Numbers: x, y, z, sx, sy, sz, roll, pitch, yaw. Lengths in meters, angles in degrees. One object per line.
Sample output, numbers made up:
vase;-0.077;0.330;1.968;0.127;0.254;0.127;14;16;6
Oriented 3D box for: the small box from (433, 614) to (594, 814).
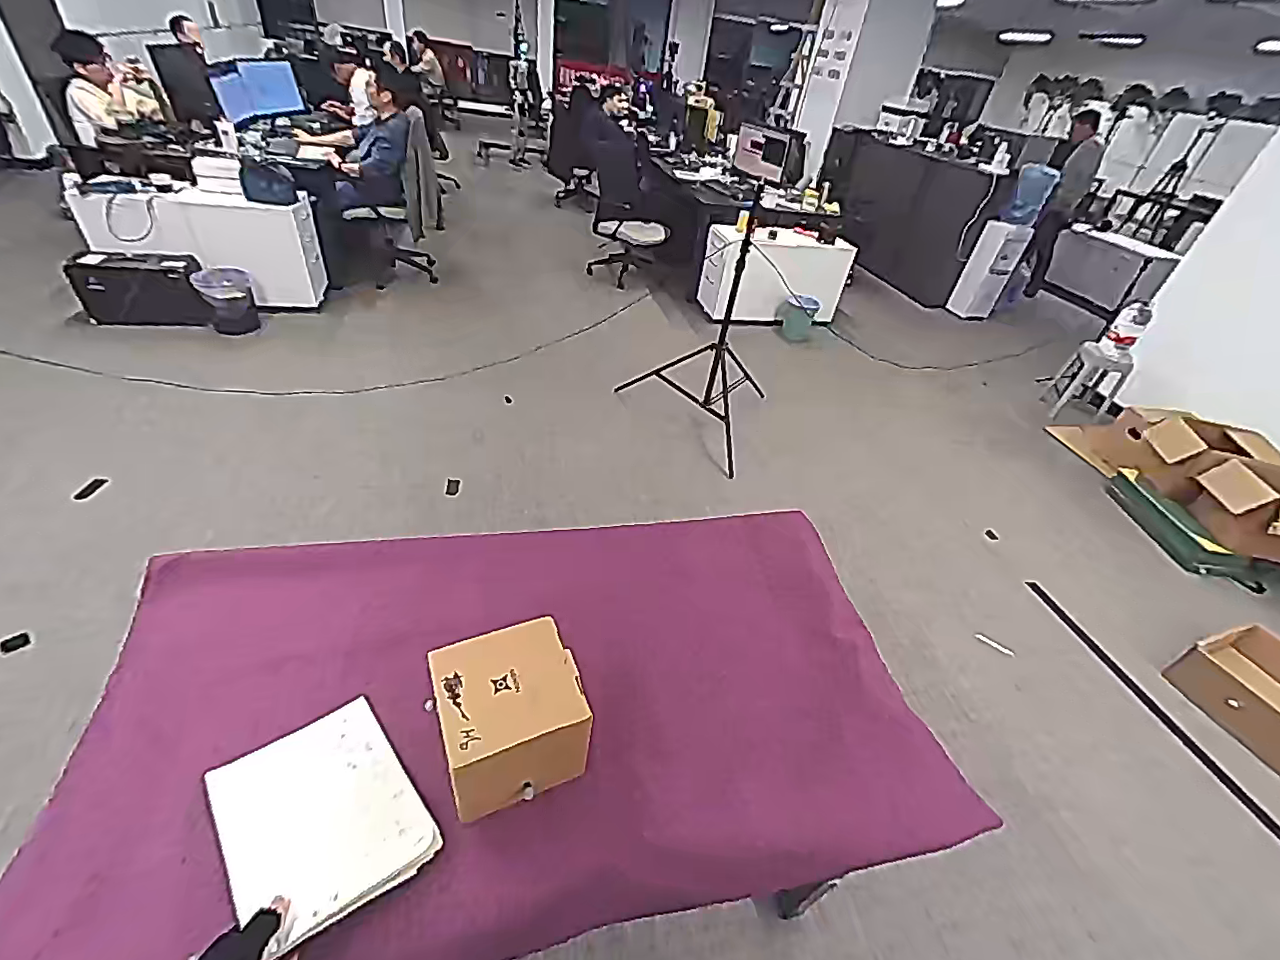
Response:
small box;-0.179;0.320;0.750;0.179;0.176;0.168;-11;42;-24
